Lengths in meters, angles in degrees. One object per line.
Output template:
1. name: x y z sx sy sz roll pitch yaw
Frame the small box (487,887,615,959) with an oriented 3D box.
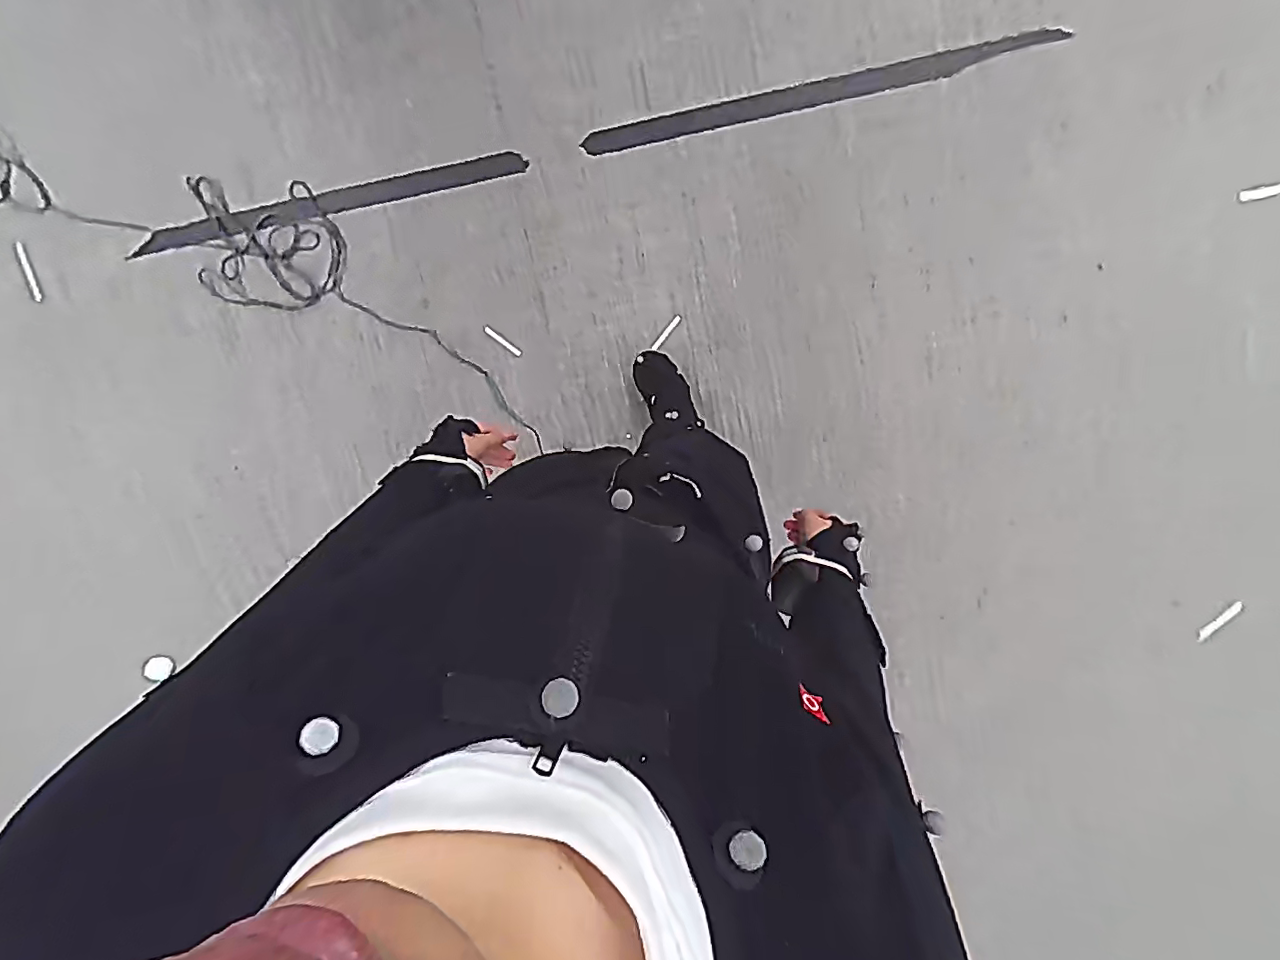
1. small box: -0.137 0.772 0.837 0.179 0.176 0.168 -7 101 6
